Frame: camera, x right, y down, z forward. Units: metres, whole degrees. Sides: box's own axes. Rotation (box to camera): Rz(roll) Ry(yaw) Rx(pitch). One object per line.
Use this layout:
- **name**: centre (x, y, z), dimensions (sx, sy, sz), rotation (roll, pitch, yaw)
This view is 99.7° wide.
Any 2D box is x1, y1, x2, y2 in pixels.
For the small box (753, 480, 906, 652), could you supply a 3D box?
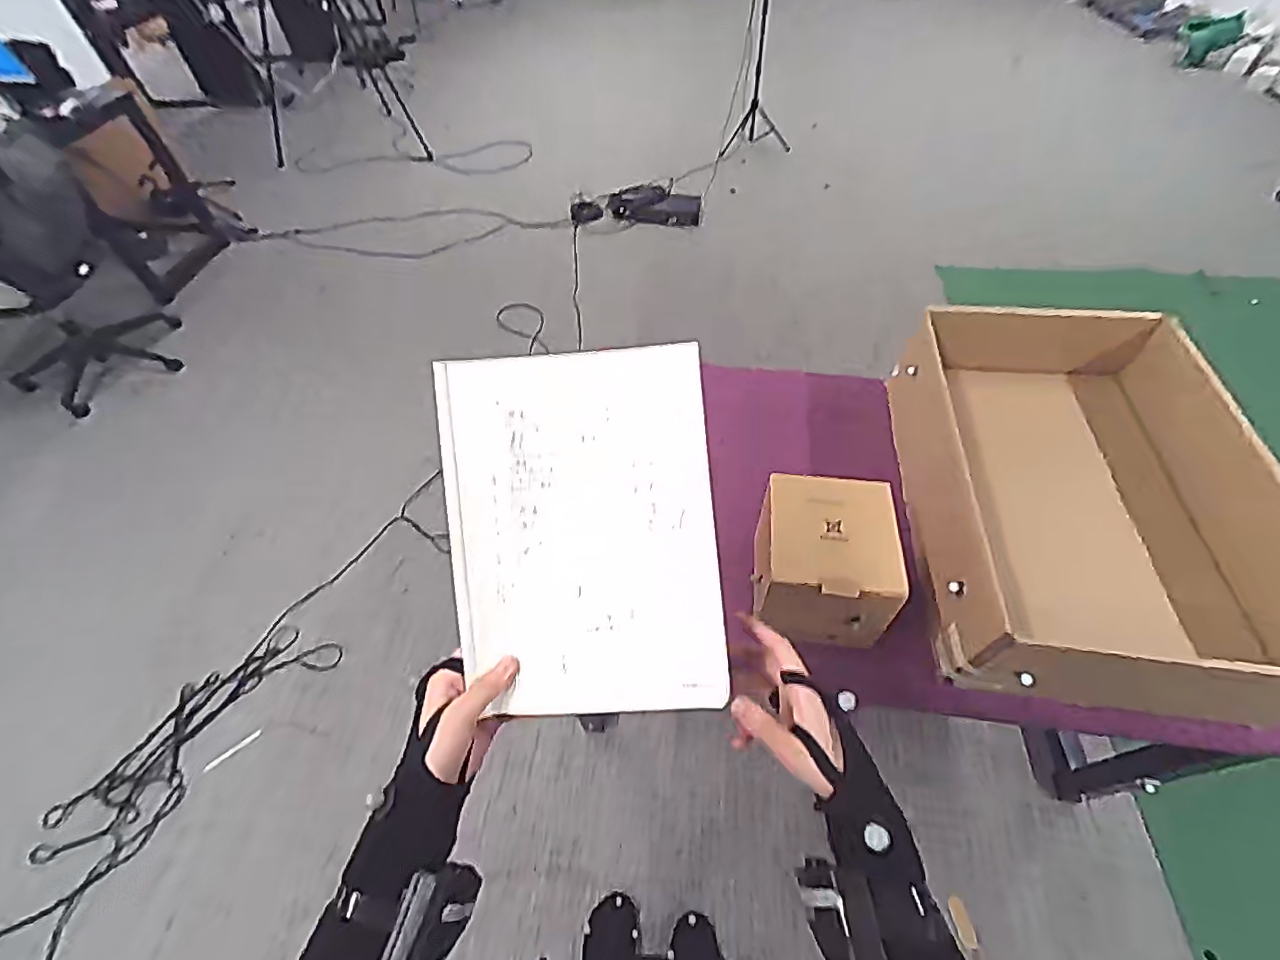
- **small box**: centre (0.254, 0.125, 0.765), dimensions (0.168, 0.176, 0.179), rotation (6, 50, 7)
